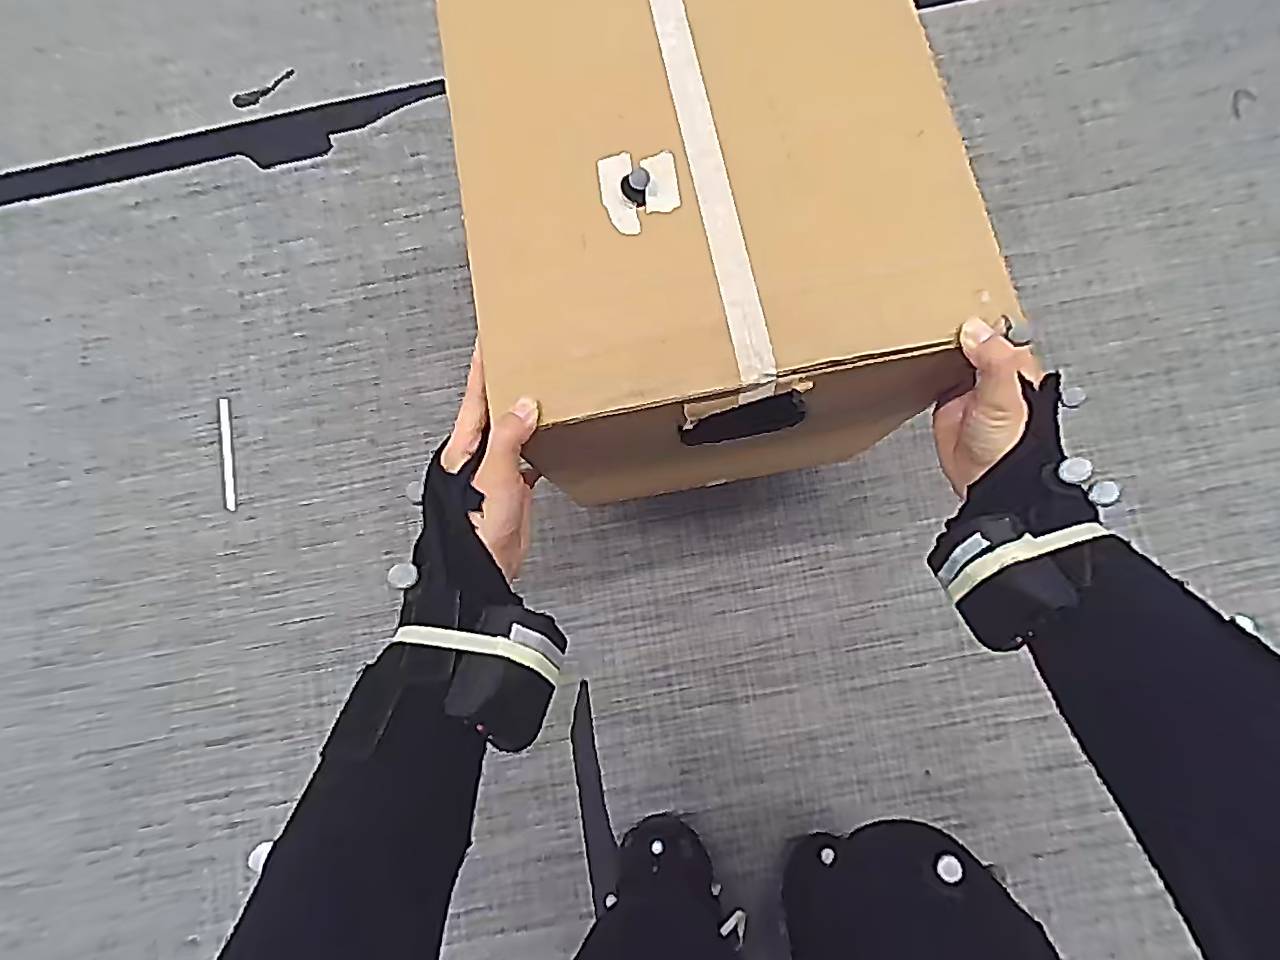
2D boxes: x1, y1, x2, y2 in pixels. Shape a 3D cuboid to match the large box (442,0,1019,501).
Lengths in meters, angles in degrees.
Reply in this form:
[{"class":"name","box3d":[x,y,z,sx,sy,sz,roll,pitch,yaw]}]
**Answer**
[{"class":"large box","box3d":[0.043,-0.222,0.504,0.320,0.320,0.408,-12,79,1]}]
